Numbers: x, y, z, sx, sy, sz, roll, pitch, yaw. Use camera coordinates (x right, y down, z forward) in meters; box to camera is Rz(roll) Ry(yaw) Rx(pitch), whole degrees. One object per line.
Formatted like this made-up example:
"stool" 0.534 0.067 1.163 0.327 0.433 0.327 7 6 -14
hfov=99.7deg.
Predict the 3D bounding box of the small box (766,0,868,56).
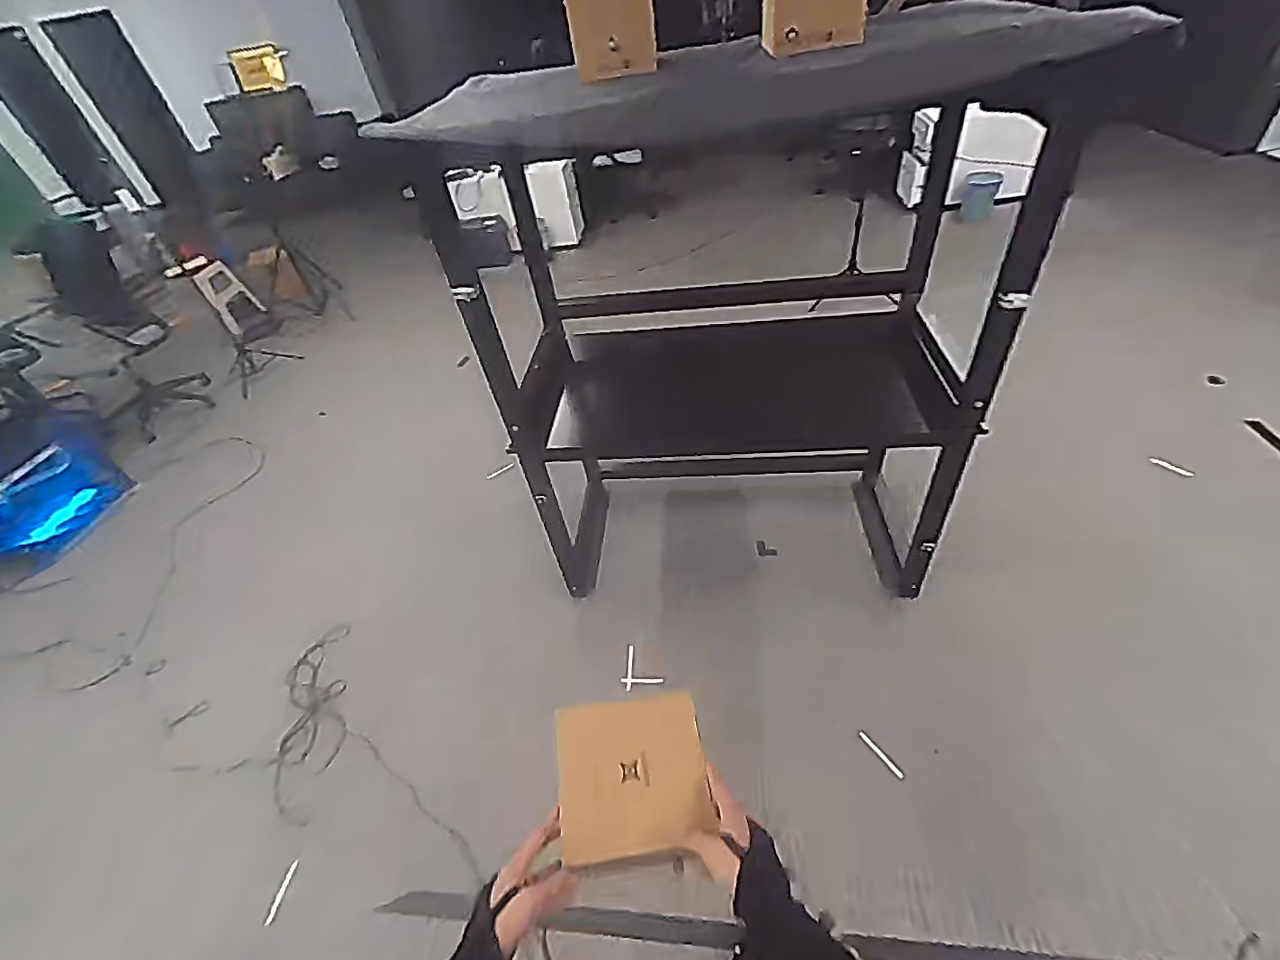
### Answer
"small box" 0.334 -0.928 1.029 0.168 0.176 0.179 -4 43 7

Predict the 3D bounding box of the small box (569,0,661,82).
"small box" -0.048 -0.942 1.117 0.168 0.176 0.179 -4 44 7
